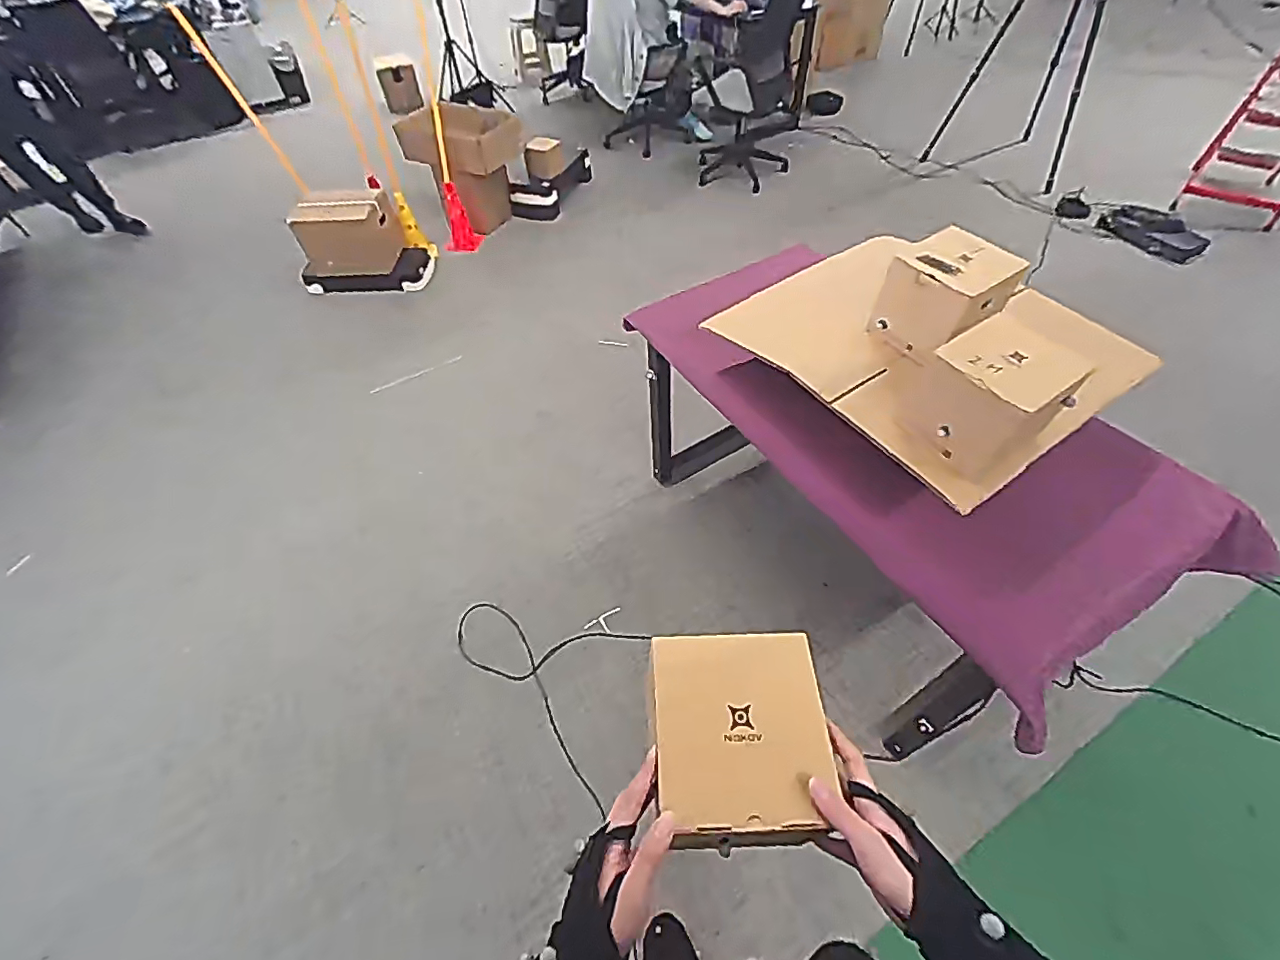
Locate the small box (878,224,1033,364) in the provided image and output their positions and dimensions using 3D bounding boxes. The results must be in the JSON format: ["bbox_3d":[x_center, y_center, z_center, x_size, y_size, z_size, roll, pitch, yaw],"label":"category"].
[{"bbox_3d":[0.587,-0.352,1.037,0.179,0.176,0.168,-29,59,-19],"label":"small box"}]

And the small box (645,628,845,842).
[{"bbox_3d":[0.092,0.274,0.577,0.168,0.176,0.179,-1,53,-2],"label":"small box"}]

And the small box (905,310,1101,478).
[{"bbox_3d":[0.573,-0.138,0.881,0.179,0.176,0.168,-29,58,-18],"label":"small box"}]
